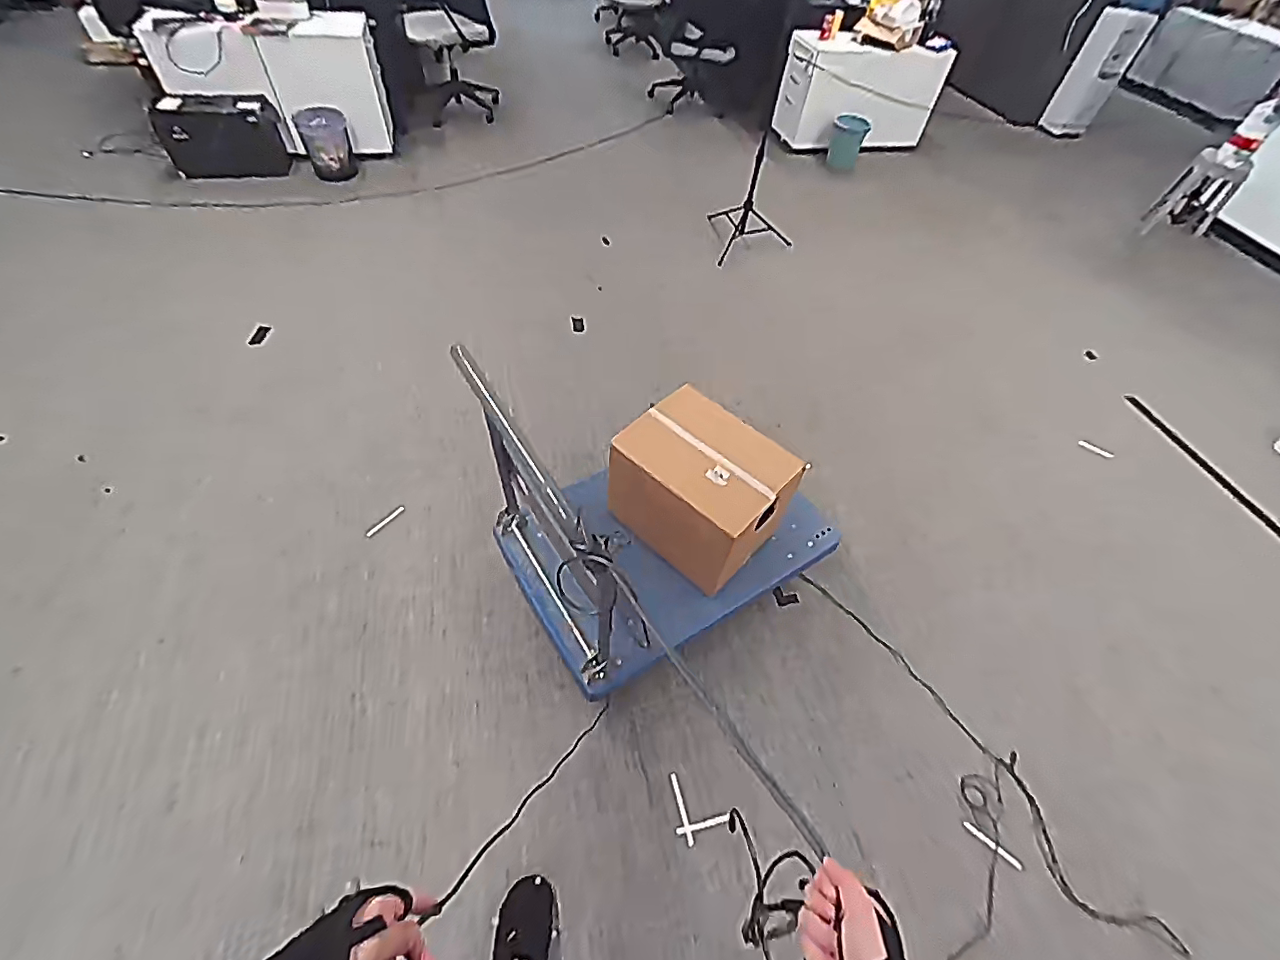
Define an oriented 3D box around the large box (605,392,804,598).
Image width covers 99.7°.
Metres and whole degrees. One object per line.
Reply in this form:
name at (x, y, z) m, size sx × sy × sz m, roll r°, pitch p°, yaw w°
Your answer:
large box at (0.154, 0.036, 1.475) m, size 0.408 × 0.320 × 0.320 m, roll 38°, pitch 58°, yaw 21°
